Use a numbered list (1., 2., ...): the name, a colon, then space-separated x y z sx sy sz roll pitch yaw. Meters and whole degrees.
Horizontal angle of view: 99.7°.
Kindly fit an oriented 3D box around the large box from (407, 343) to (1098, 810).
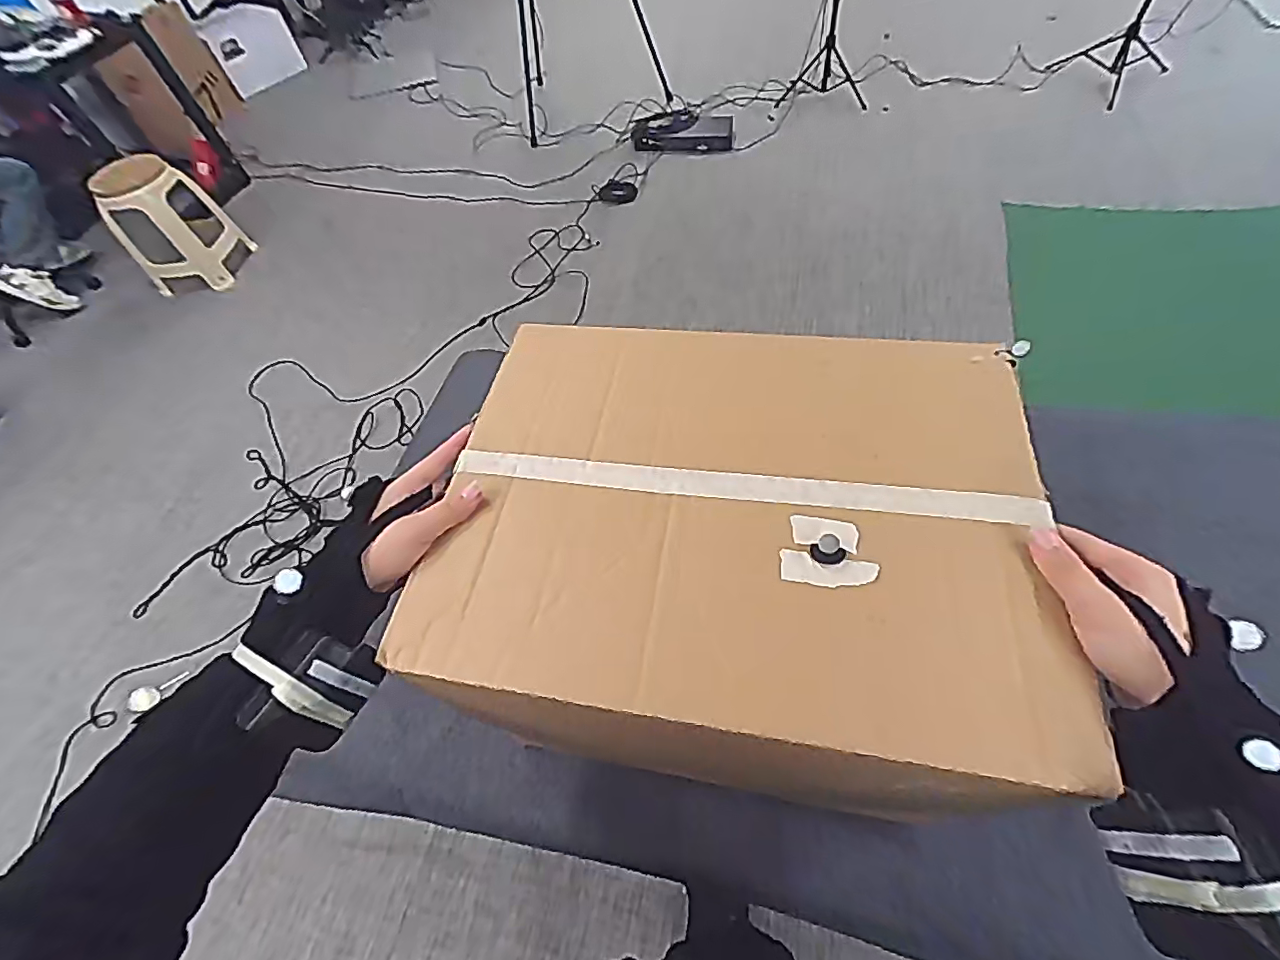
1. large box: 0.080 0.095 0.514 0.408 0.320 0.320 5 57 10
